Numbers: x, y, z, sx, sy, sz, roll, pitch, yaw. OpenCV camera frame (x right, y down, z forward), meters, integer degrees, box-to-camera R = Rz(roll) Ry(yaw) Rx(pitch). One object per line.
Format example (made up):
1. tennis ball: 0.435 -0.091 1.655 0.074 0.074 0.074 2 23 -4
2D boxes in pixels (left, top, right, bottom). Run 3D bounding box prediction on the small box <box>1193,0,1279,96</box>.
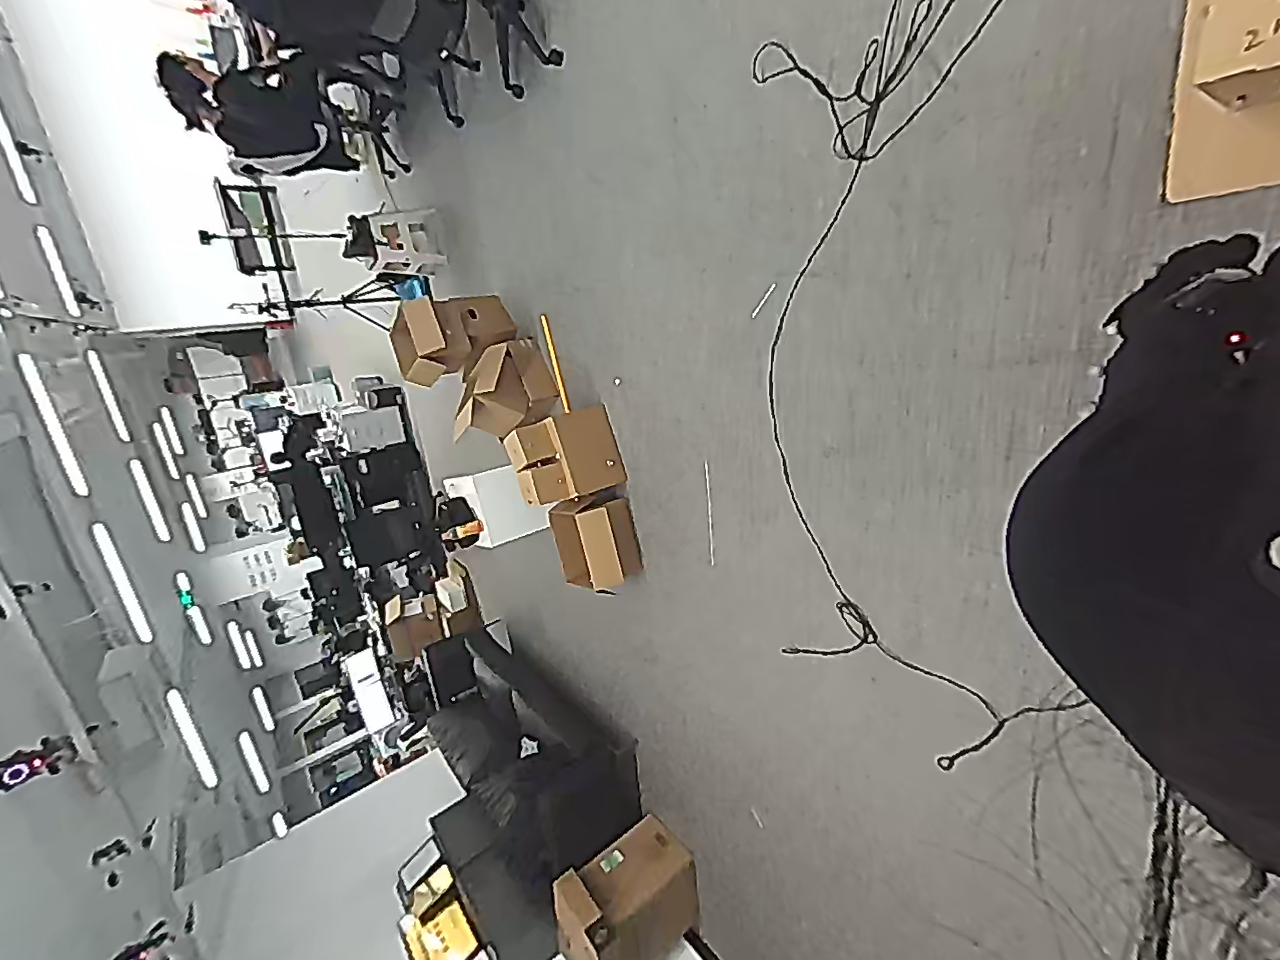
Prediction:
1. small box: 0.877 -0.641 0.712 0.168 0.176 0.179 19 120 50
